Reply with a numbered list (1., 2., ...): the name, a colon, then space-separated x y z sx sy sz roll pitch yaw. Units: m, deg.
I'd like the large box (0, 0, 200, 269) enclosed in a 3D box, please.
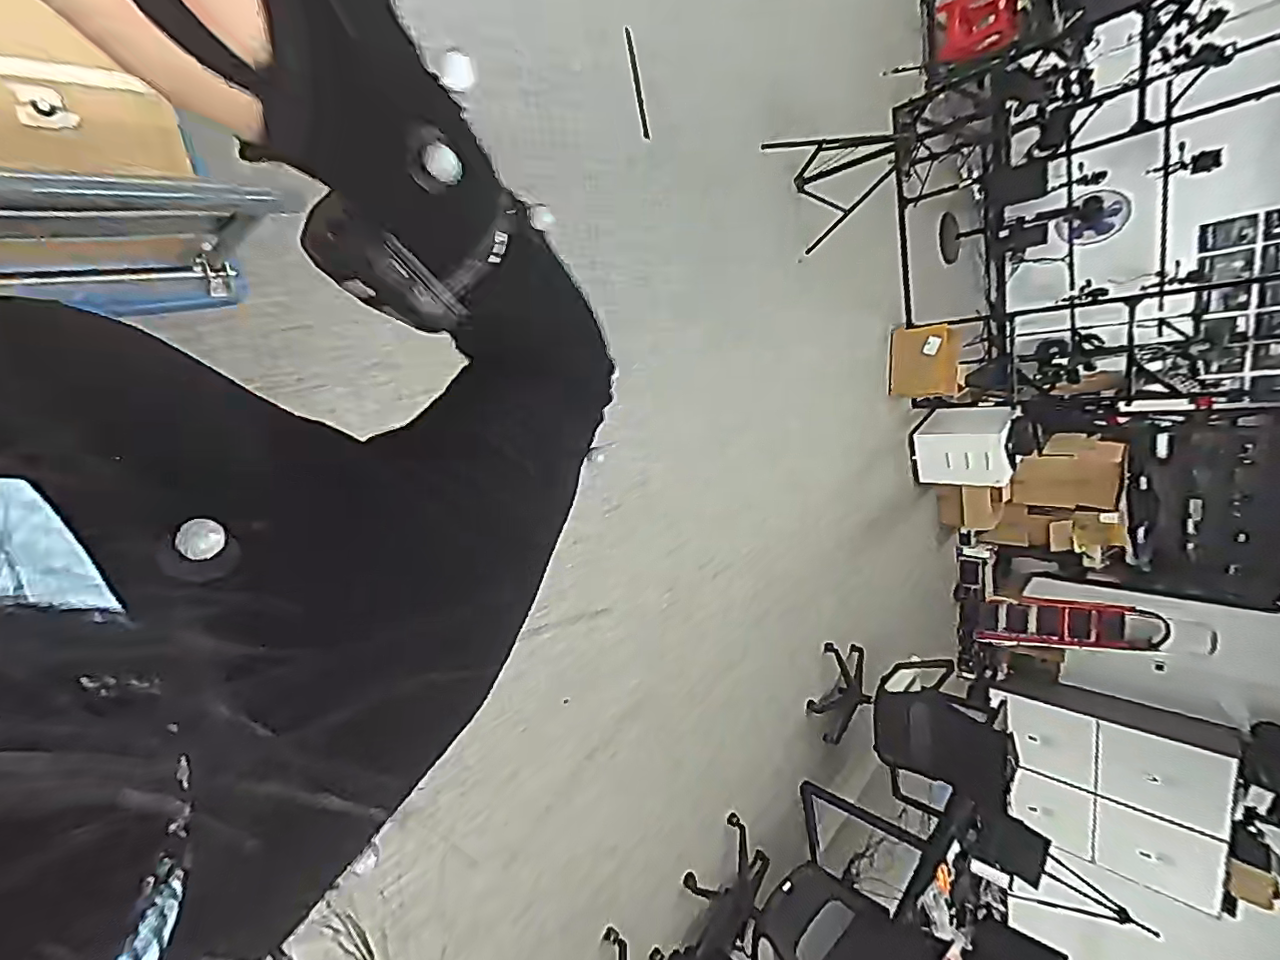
1. large box: -0.924 -0.486 0.744 0.408 0.320 0.320 -24 109 -42
